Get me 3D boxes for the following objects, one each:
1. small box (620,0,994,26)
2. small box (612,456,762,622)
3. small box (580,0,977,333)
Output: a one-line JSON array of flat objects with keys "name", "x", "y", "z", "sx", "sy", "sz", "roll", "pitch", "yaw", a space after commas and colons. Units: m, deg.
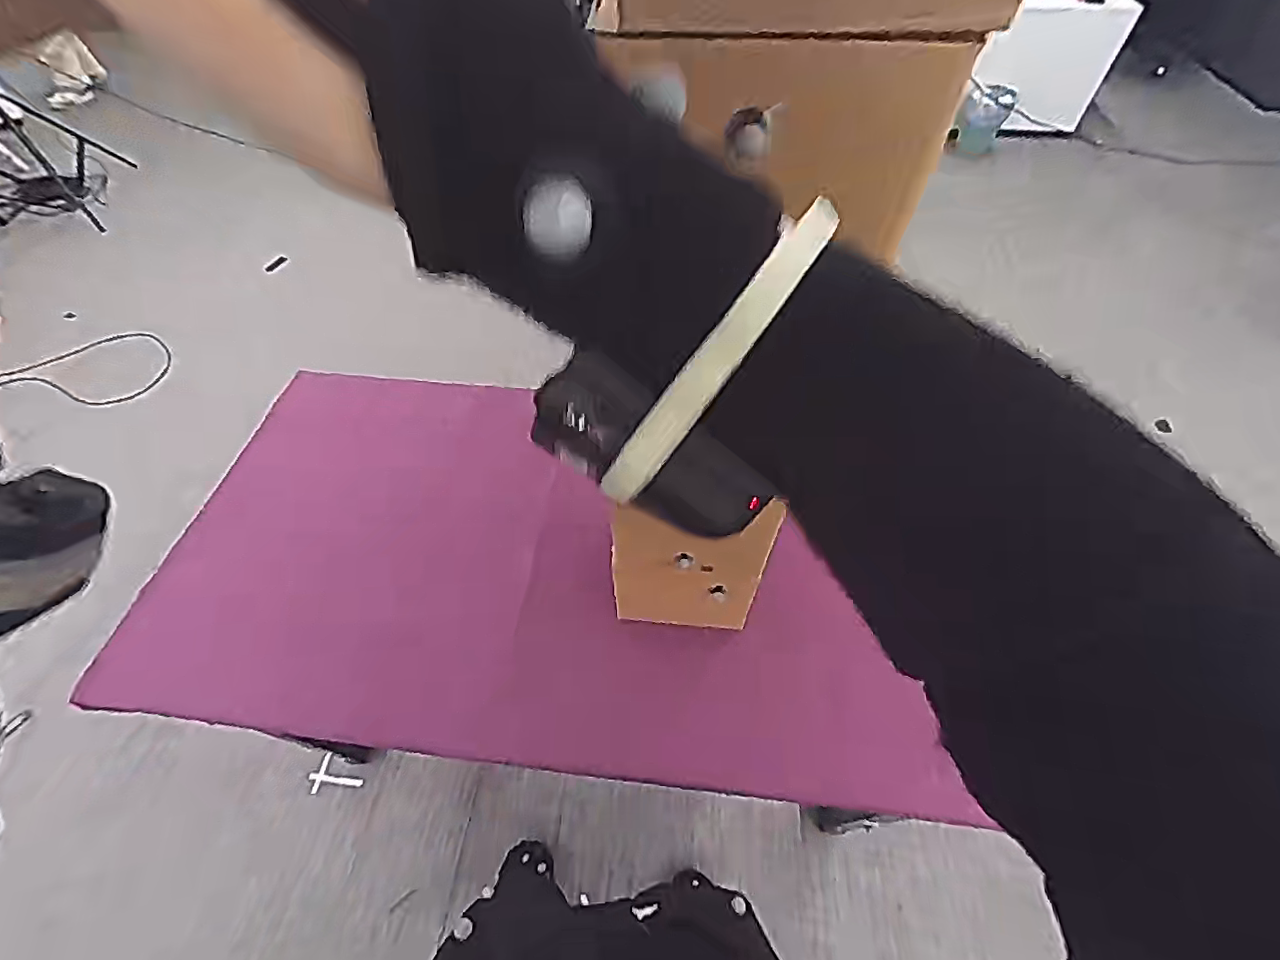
[{"name": "small box", "x": 0.073, "y": -0.307, "z": 0.215, "sx": 0.168, "sy": 0.176, "sz": 0.179, "roll": 3, "pitch": 54, "yaw": 2}, {"name": "small box", "x": 0.064, "y": 0.083, "z": 0.738, "sx": 0.179, "sy": 0.176, "sz": 0.168, "roll": 4, "pitch": 54, "yaw": 5}, {"name": "small box", "x": 0.068, "y": -0.211, "z": 0.346, "sx": 0.179, "sy": 0.176, "sz": 0.168, "roll": 3, "pitch": 55, "yaw": 4}]
